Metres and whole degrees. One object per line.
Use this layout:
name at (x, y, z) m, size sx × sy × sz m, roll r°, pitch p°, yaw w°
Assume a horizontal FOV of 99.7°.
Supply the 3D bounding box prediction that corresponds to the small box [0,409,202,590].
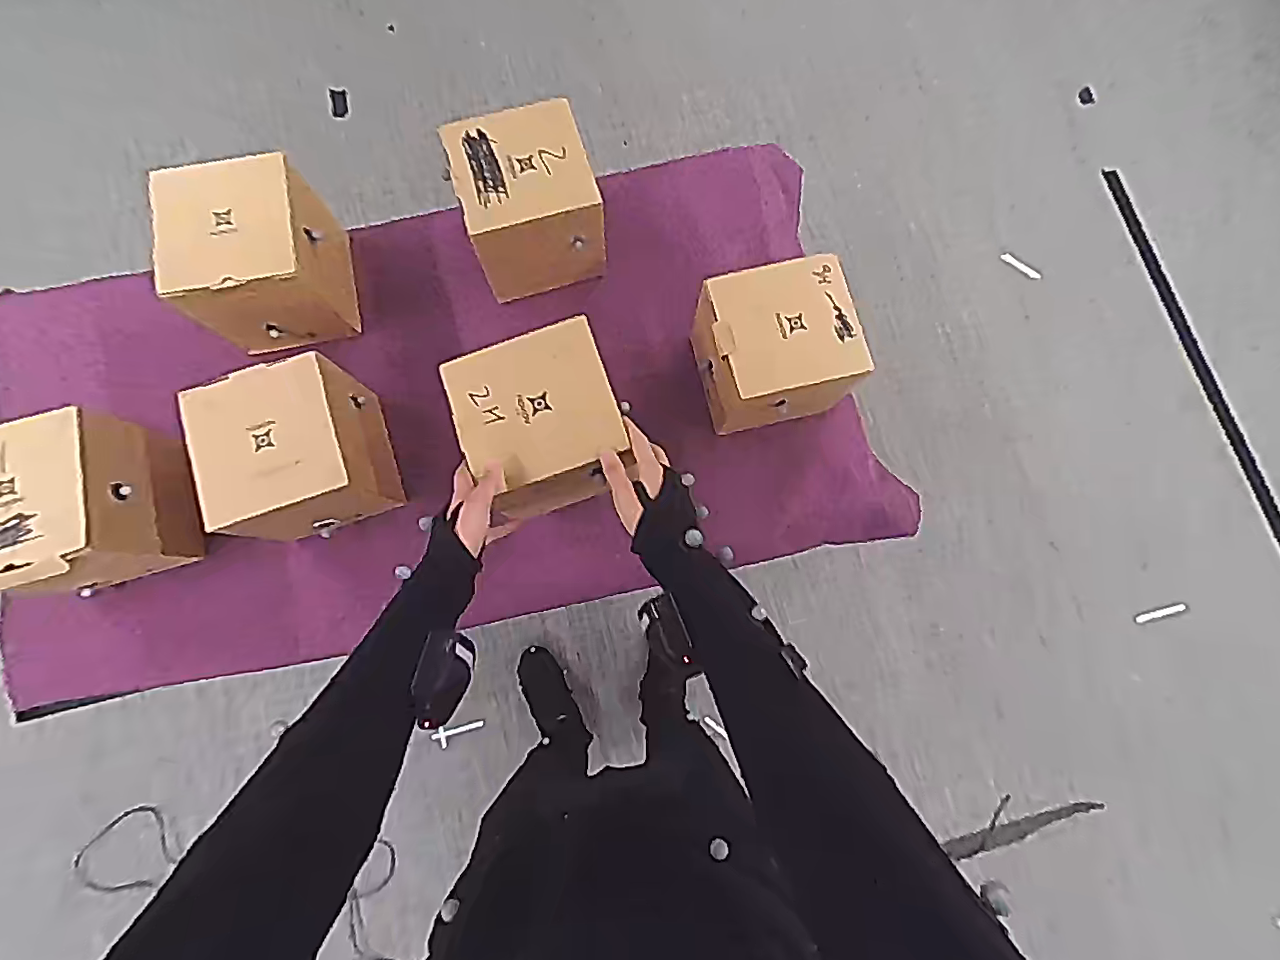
small box at (-0.700, 0.035, 0.683) m, size 0.168 × 0.176 × 0.179 m, roll -16°, pitch 79°, yaw -5°

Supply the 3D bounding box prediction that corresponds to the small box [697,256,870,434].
small box at (0.180, -0.174, 0.746) m, size 0.179 × 0.176 × 0.168 m, roll -13°, pitch 80°, yaw -2°

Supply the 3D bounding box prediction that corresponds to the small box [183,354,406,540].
small box at (-0.434, -0.032, 0.704) m, size 0.168 × 0.176 × 0.179 m, roll -19°, pitch 80°, yaw -4°

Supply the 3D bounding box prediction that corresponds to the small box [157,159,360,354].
small box at (-0.514, -0.299, 0.749) m, size 0.168 × 0.176 × 0.179 m, roll -12°, pitch 80°, yaw -4°

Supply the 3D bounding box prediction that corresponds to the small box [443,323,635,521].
small box at (-0.109, -0.059, 0.662) m, size 0.179 × 0.176 × 0.168 m, roll -19°, pitch 78°, yaw 0°
